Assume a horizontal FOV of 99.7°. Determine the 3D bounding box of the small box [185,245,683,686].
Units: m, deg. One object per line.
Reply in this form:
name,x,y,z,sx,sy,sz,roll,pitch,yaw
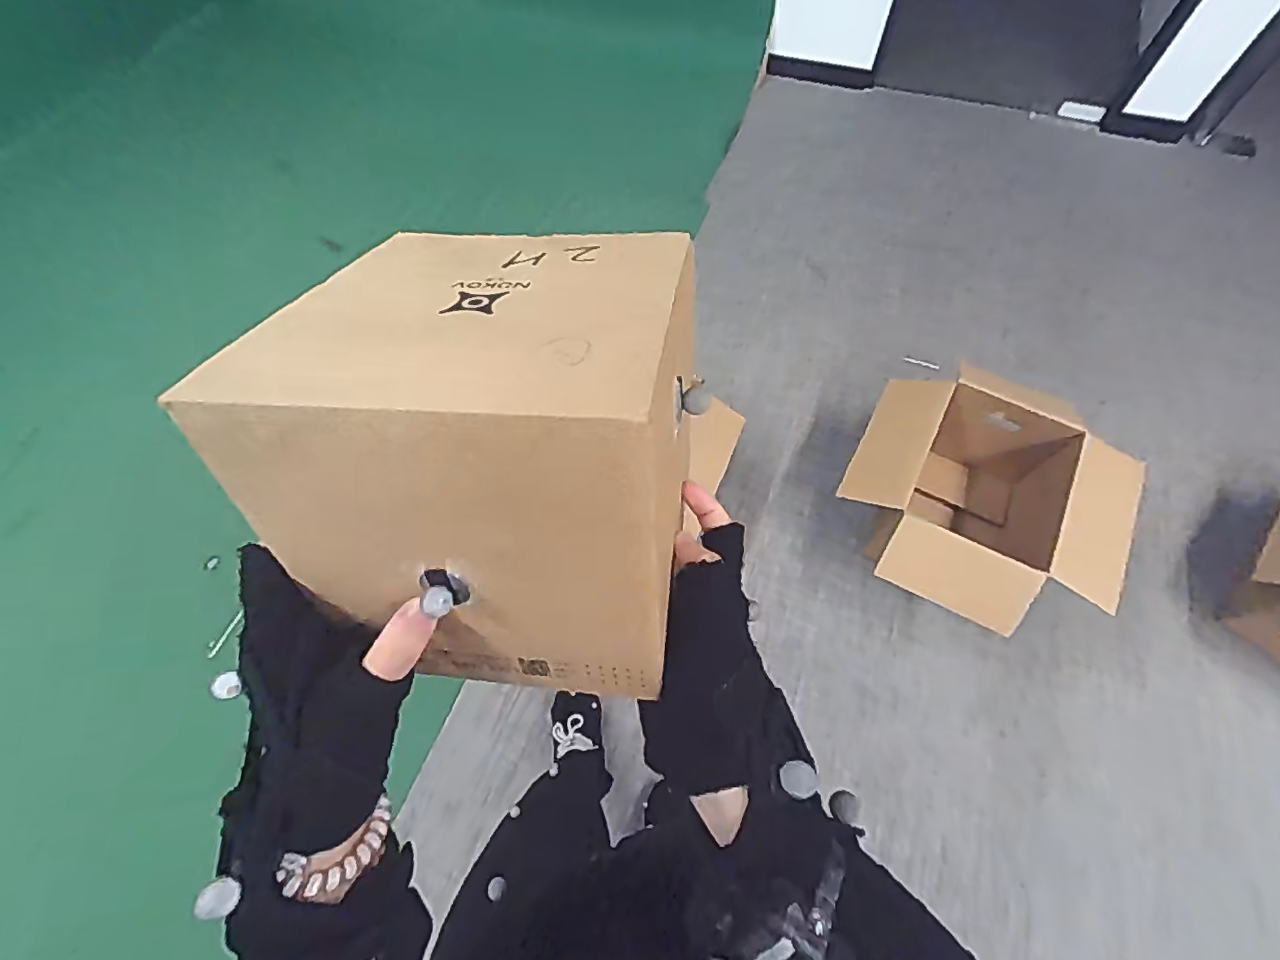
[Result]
small box,-0.065,-0.013,0.292,0.168,0.176,0.179,3,40,8
